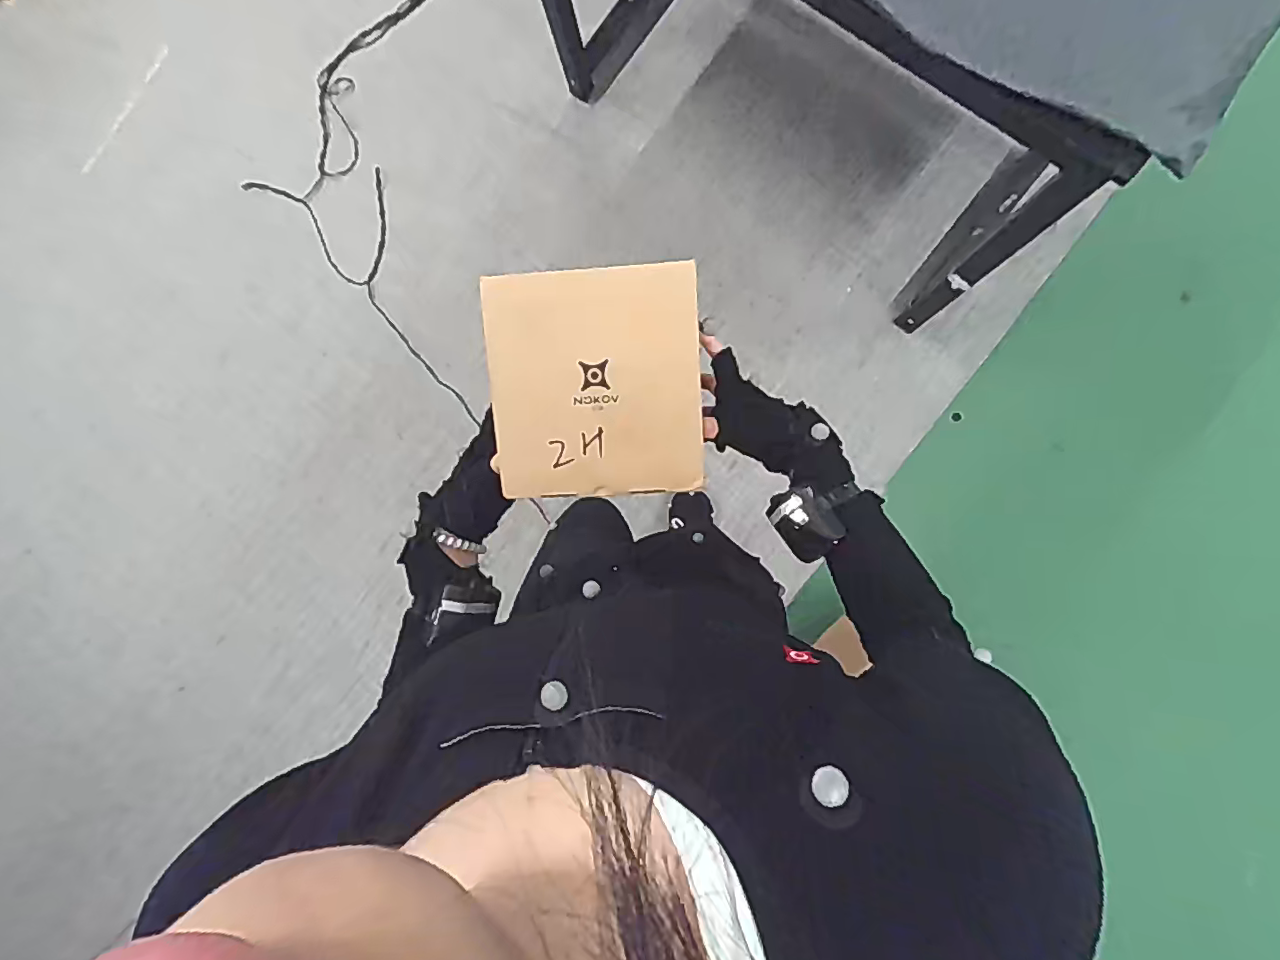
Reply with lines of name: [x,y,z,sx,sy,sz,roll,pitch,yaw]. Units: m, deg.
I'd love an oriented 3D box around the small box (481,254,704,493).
small box: [-0.030,-0.090,0.494,0.168,0.176,0.179,-3,100,6]
